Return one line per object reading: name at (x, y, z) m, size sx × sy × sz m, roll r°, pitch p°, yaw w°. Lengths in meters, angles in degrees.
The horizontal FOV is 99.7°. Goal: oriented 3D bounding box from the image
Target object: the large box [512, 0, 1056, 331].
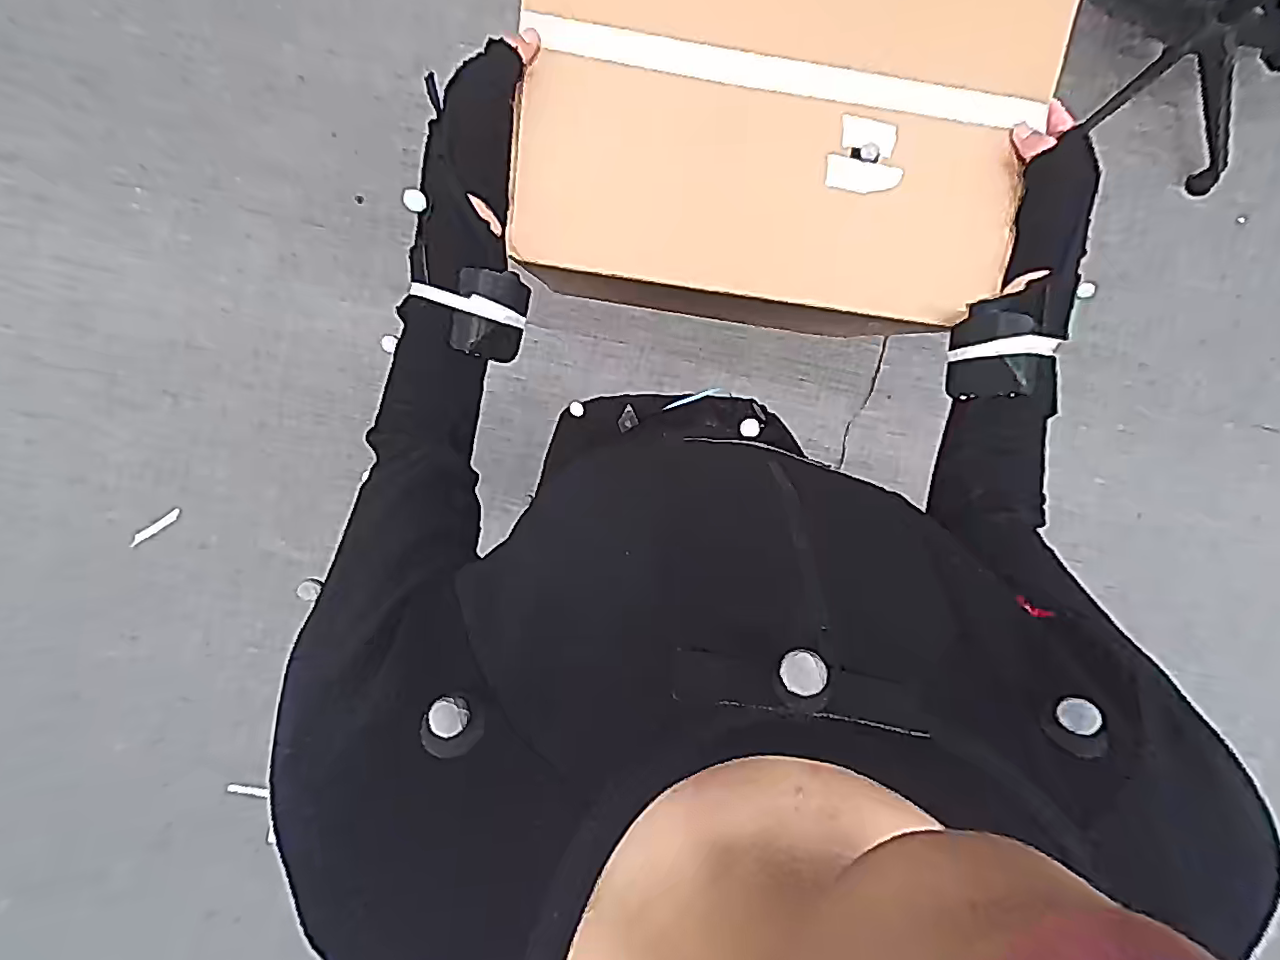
large box at (0.101, -0.342, 0.565) m, size 0.408 × 0.320 × 0.320 m, roll 8°, pitch 105°, yaw -5°
